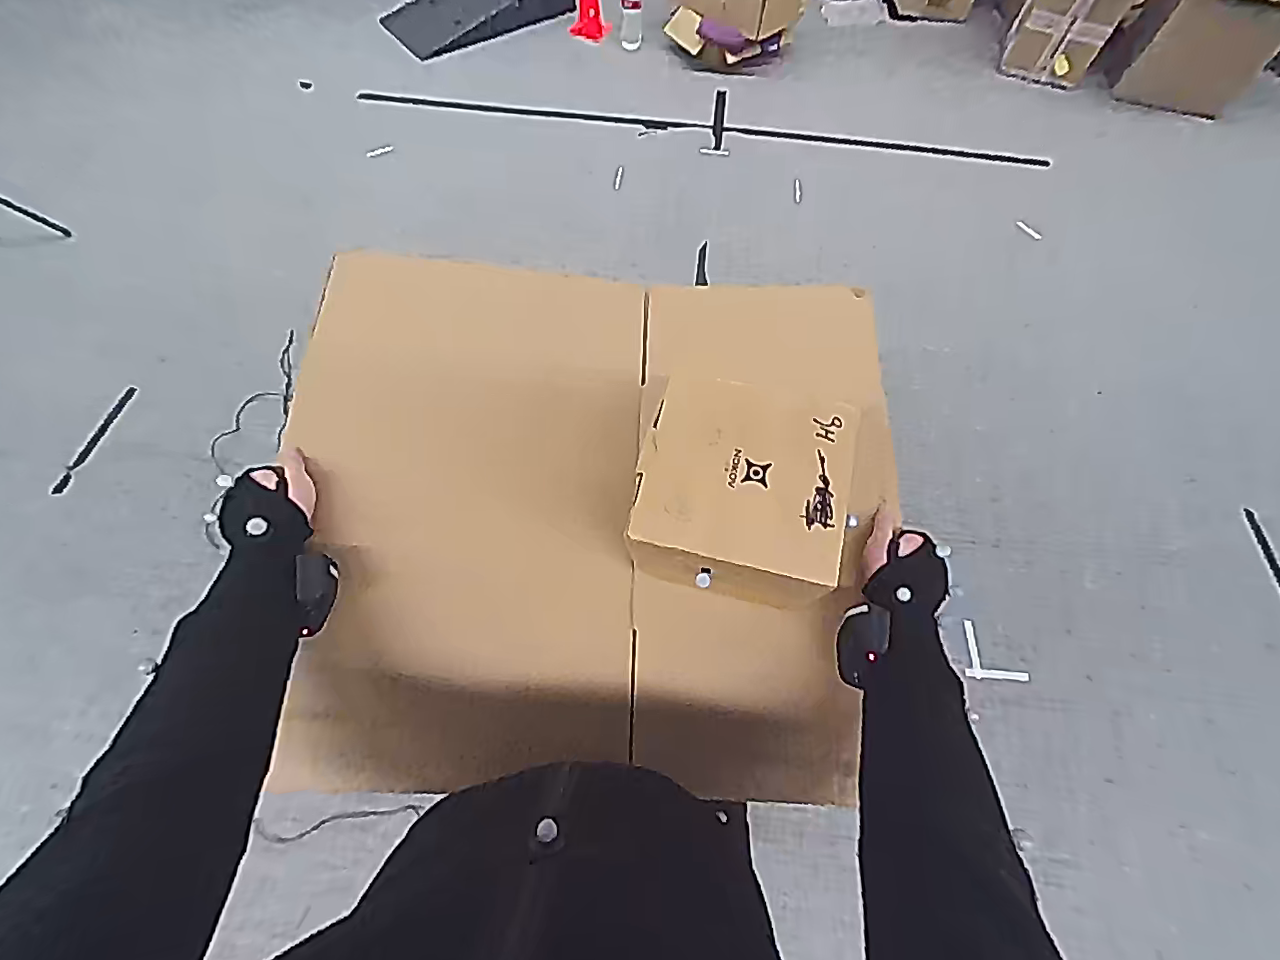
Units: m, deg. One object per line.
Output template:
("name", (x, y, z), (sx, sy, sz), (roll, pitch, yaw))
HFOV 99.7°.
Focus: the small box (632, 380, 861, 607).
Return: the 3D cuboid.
("small box", (0.102, 0.024, 0.548), (0.179, 0.176, 0.168), (12, 71, 9))
